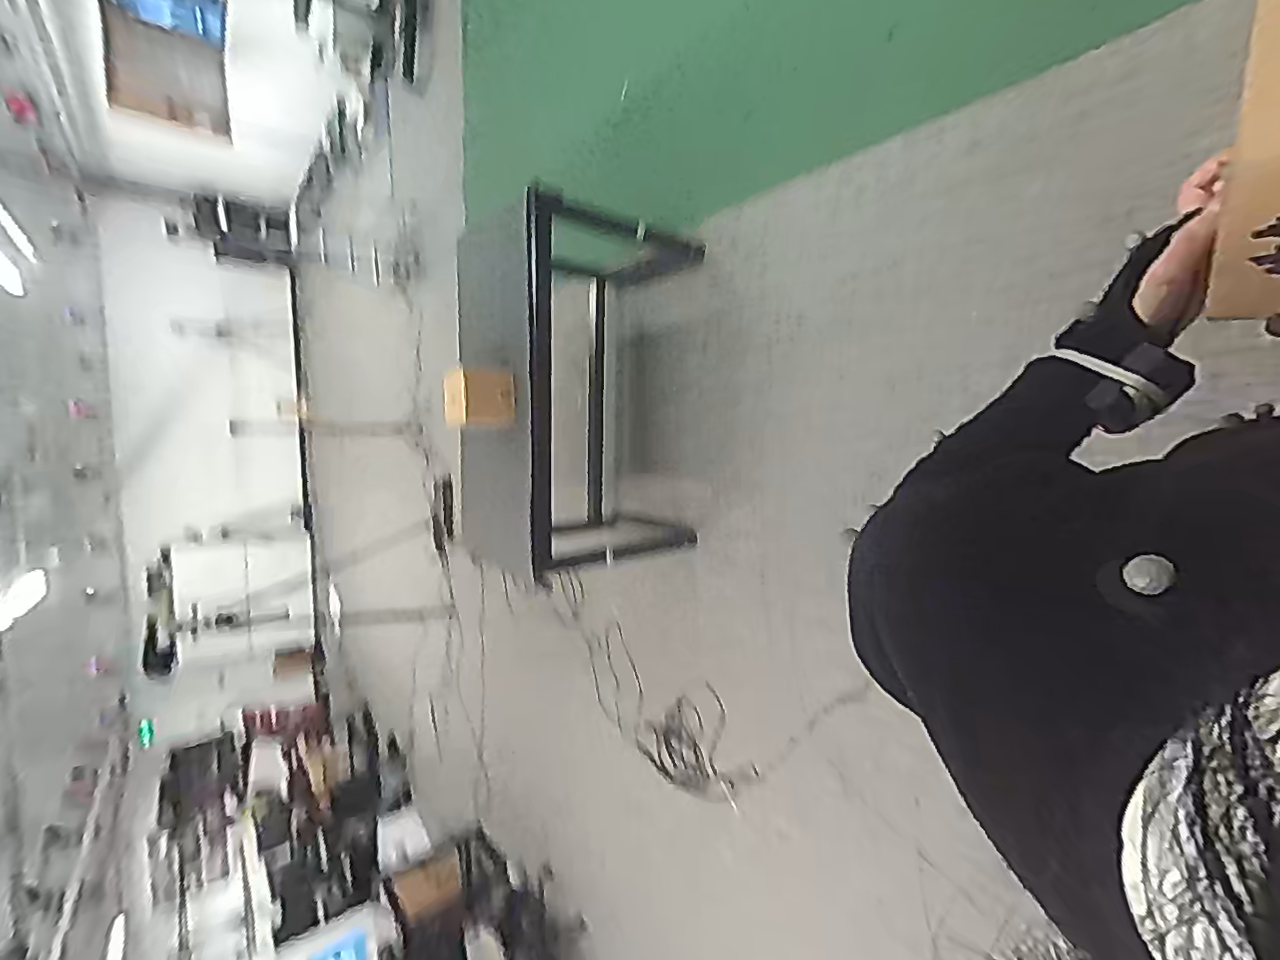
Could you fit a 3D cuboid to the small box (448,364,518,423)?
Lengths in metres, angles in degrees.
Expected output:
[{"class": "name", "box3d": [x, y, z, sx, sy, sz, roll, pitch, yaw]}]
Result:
[{"class": "small box", "box3d": [-0.508, -0.274, 1.744, 0.179, 0.176, 0.168, 1, 94, 52]}]
